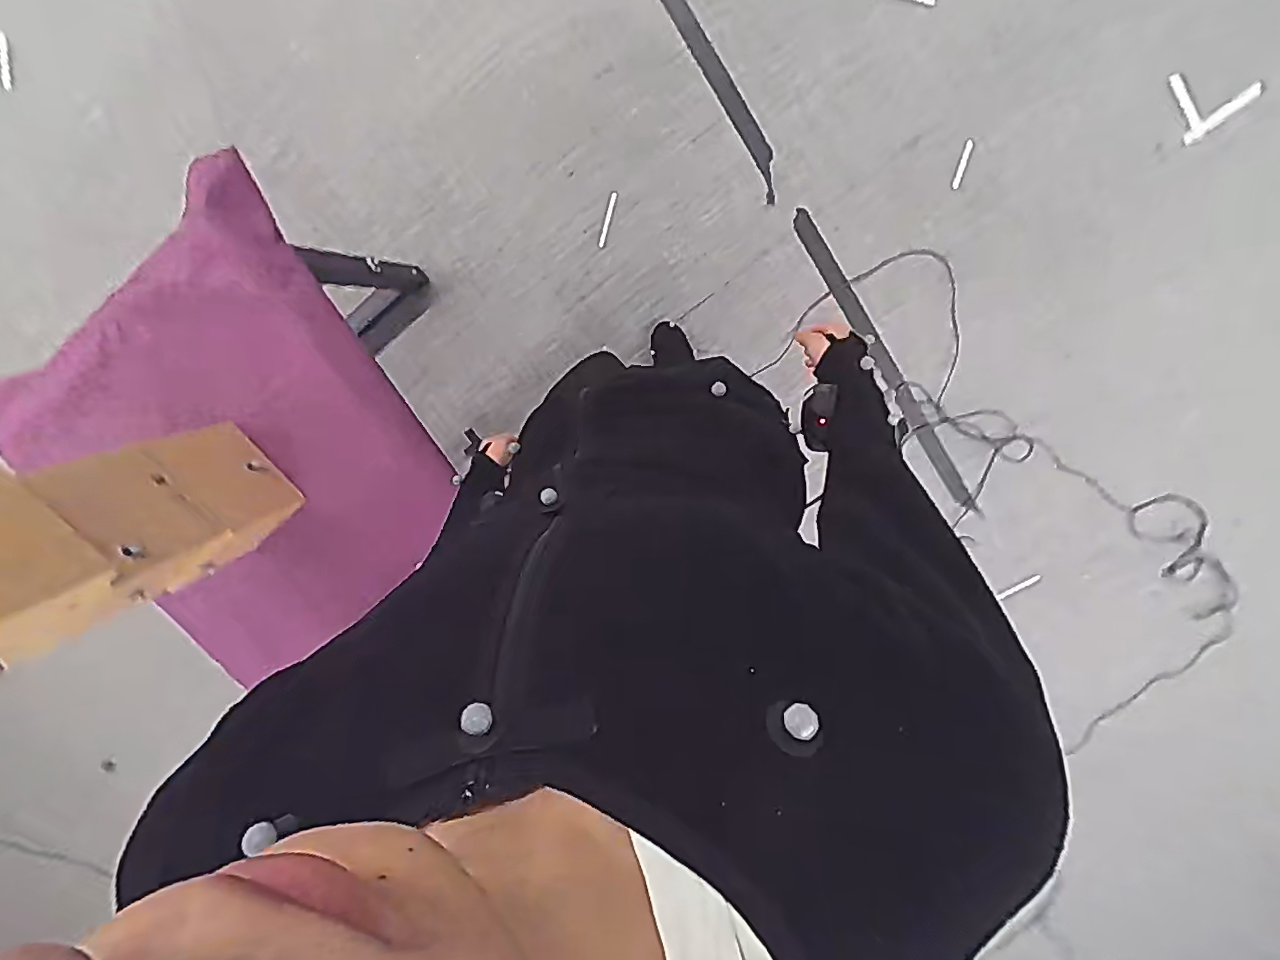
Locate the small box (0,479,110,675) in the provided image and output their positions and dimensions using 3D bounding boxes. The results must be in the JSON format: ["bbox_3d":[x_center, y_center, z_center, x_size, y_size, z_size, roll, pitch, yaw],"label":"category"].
[{"bbox_3d":[-0.716,0.119,0.548,0.168,0.176,0.179,-40,100,15],"label":"small box"}]

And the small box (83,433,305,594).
[{"bbox_3d":[-0.698,0.041,0.866,0.168,0.176,0.179,-37,100,15],"label":"small box"}]

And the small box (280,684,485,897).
[{"bbox_3d":[-0.358,0.441,0.787,0.179,0.176,0.168,-40,100,14],"label":"small box"}]
